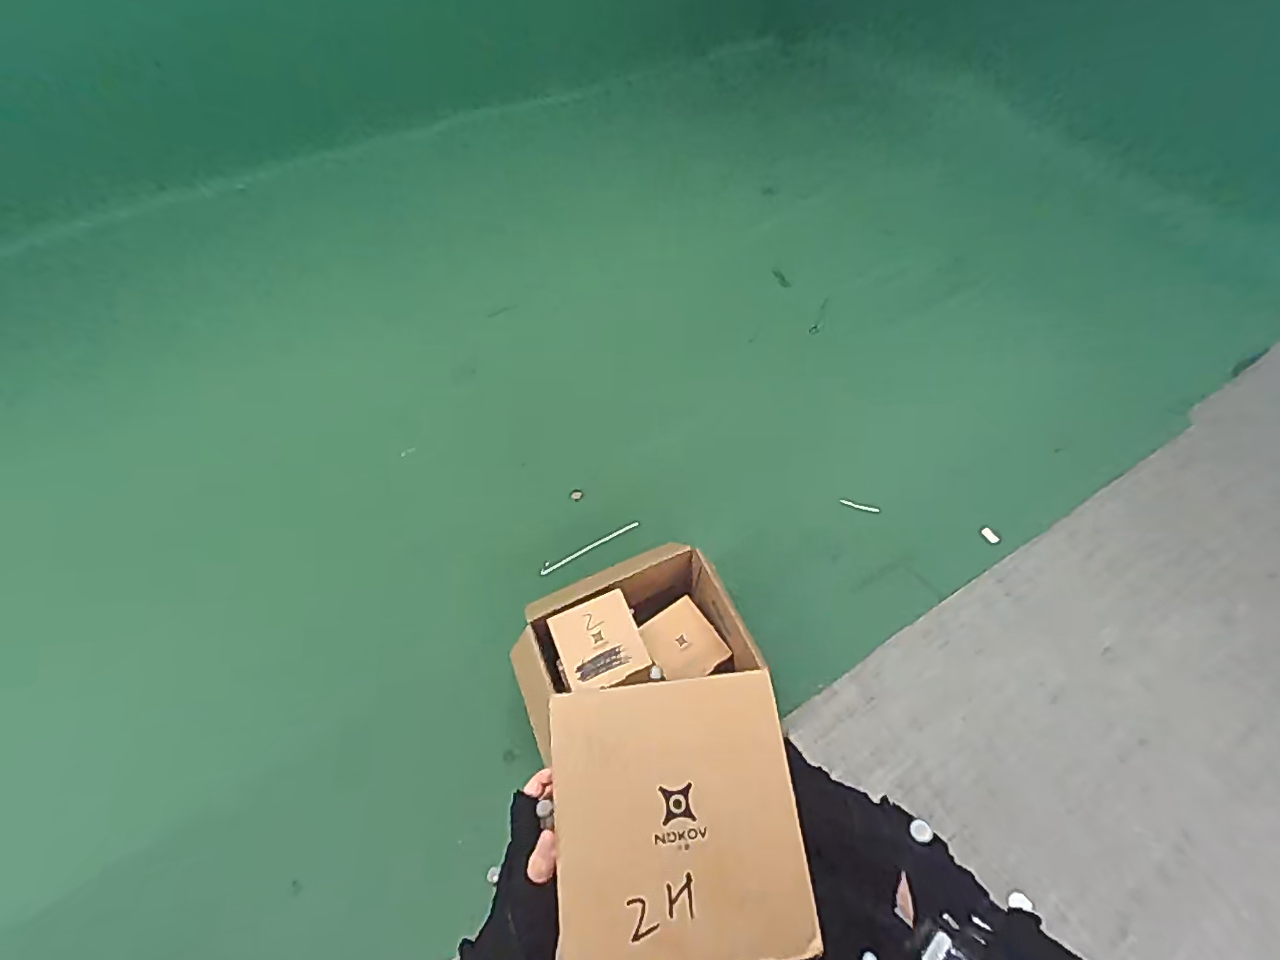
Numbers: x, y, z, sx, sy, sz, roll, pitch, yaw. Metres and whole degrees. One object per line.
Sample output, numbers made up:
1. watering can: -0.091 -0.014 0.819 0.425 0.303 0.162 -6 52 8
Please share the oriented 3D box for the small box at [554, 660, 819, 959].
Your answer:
1. small box: 0.020 0.253 0.440 0.168 0.176 0.179 -5 67 -5
